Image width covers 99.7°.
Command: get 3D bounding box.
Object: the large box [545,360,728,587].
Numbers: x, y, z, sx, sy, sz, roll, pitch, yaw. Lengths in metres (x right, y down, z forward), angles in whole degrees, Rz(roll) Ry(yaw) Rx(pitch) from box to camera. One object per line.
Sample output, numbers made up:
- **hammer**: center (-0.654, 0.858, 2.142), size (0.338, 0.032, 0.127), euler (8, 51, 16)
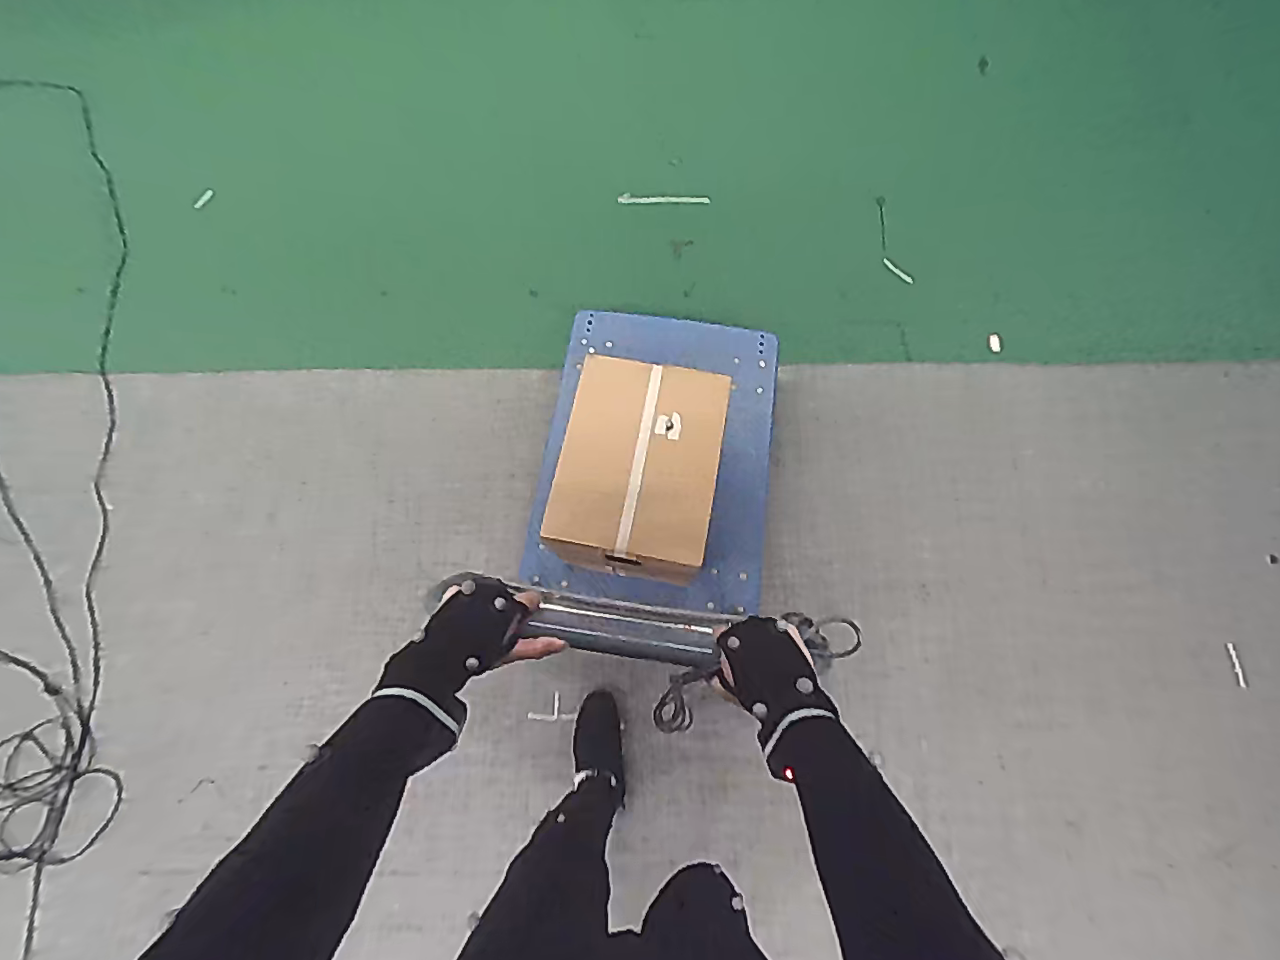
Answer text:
- **large box**: center (0.003, 0.002, 1.219), size (0.320, 0.320, 0.408), euler (11, 72, 3)
